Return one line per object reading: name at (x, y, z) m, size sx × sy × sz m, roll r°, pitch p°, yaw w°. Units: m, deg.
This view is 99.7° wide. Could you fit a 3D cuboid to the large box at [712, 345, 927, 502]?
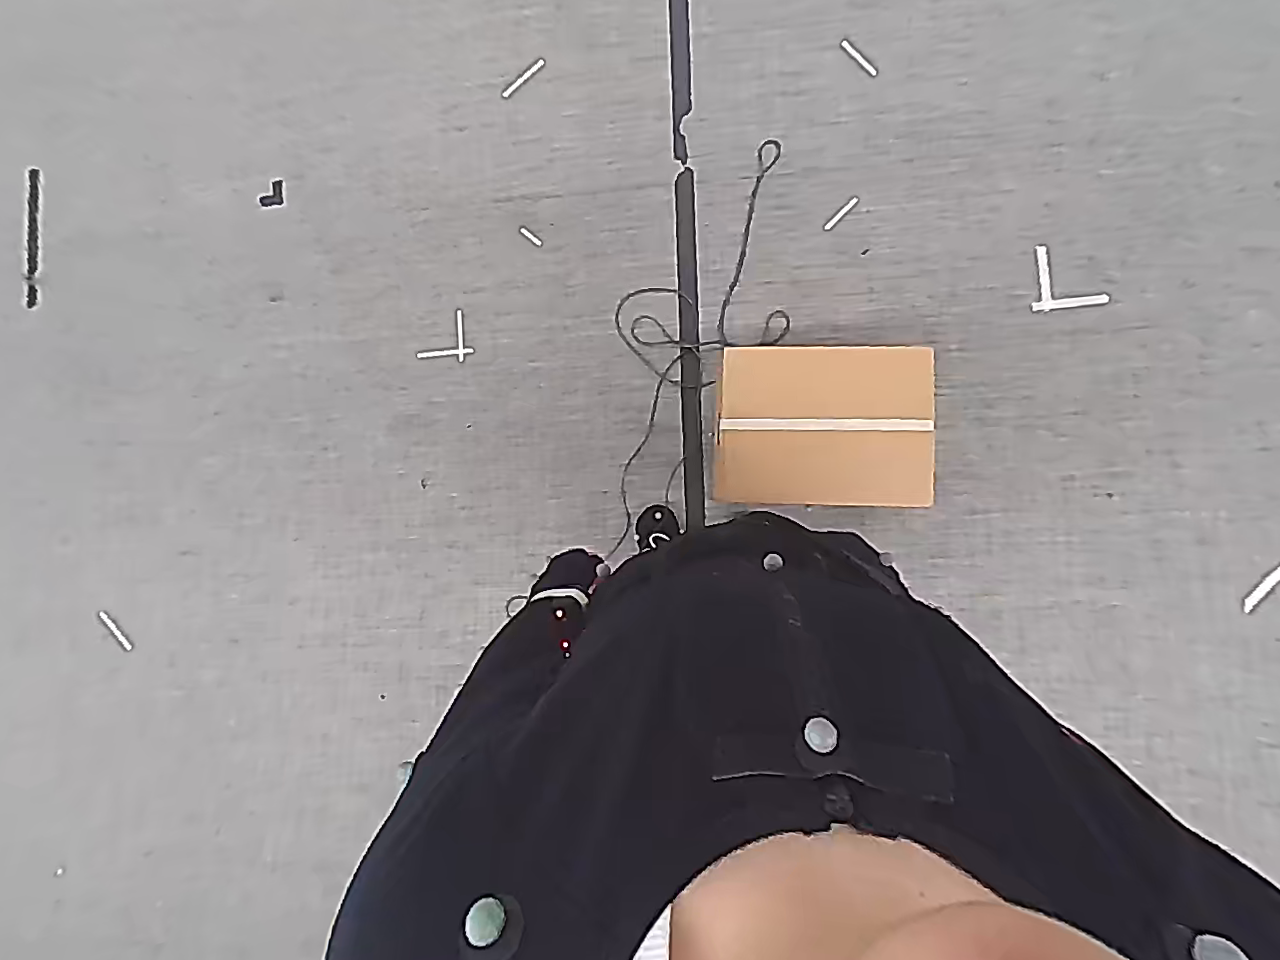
large box at (0.371, -0.109, 1.216) m, size 0.408 × 0.320 × 0.320 m, roll 1°, pitch 89°, yaw 5°
